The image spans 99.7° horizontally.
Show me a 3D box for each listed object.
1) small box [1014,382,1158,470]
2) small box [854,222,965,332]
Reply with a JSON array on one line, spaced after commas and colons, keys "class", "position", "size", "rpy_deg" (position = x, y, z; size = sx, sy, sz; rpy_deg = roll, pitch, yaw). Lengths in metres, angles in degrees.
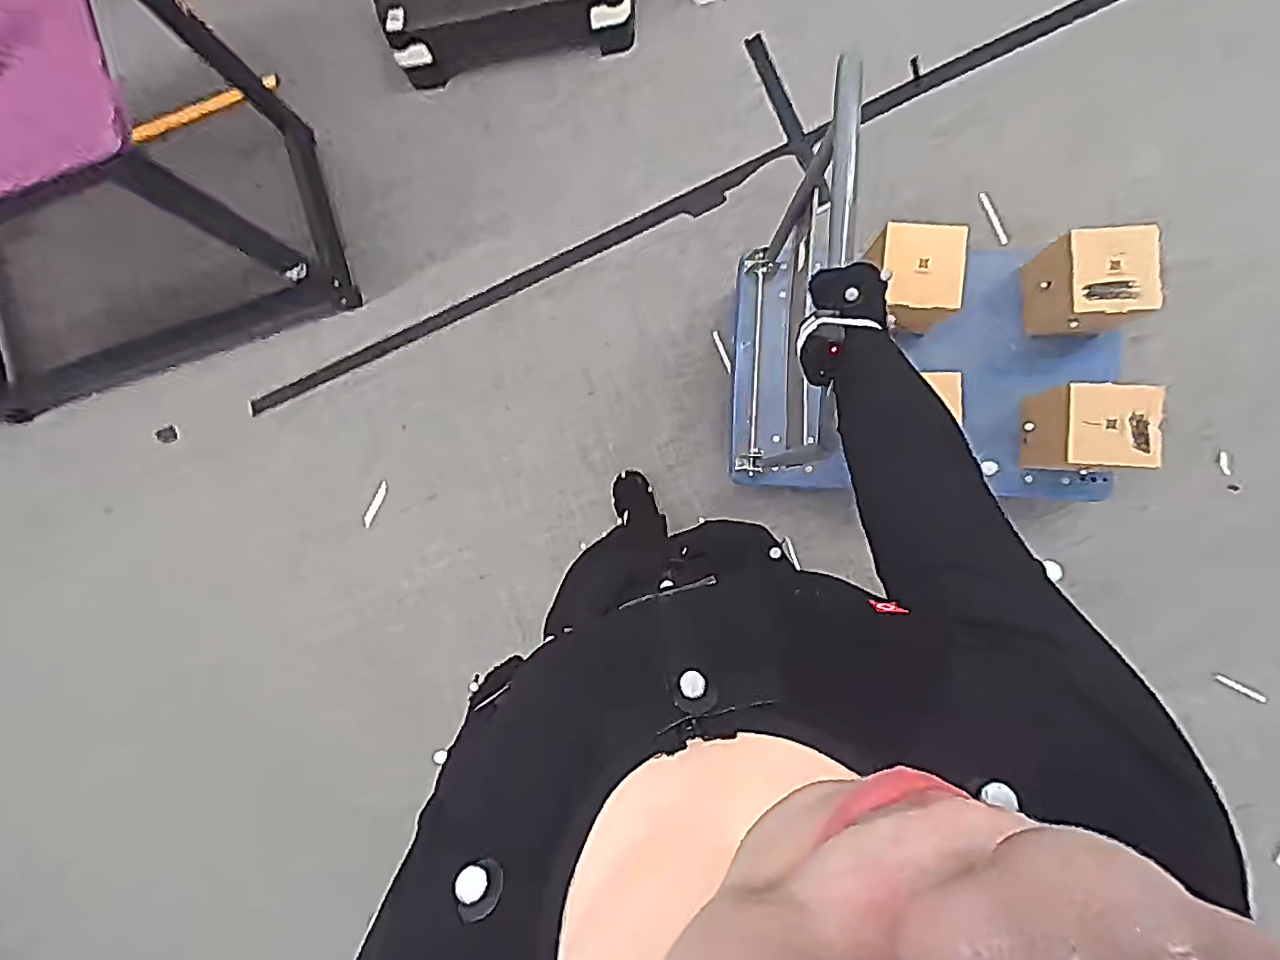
[{"class": "small box", "position": [0.953, -0.110, 1.168], "size": [0.179, 0.176, 0.168], "rpy_deg": [4, 88, 6]}, {"class": "small box", "position": [0.592, -0.446, 1.206], "size": [0.168, 0.176, 0.179], "rpy_deg": [5, 90, 4]}]
